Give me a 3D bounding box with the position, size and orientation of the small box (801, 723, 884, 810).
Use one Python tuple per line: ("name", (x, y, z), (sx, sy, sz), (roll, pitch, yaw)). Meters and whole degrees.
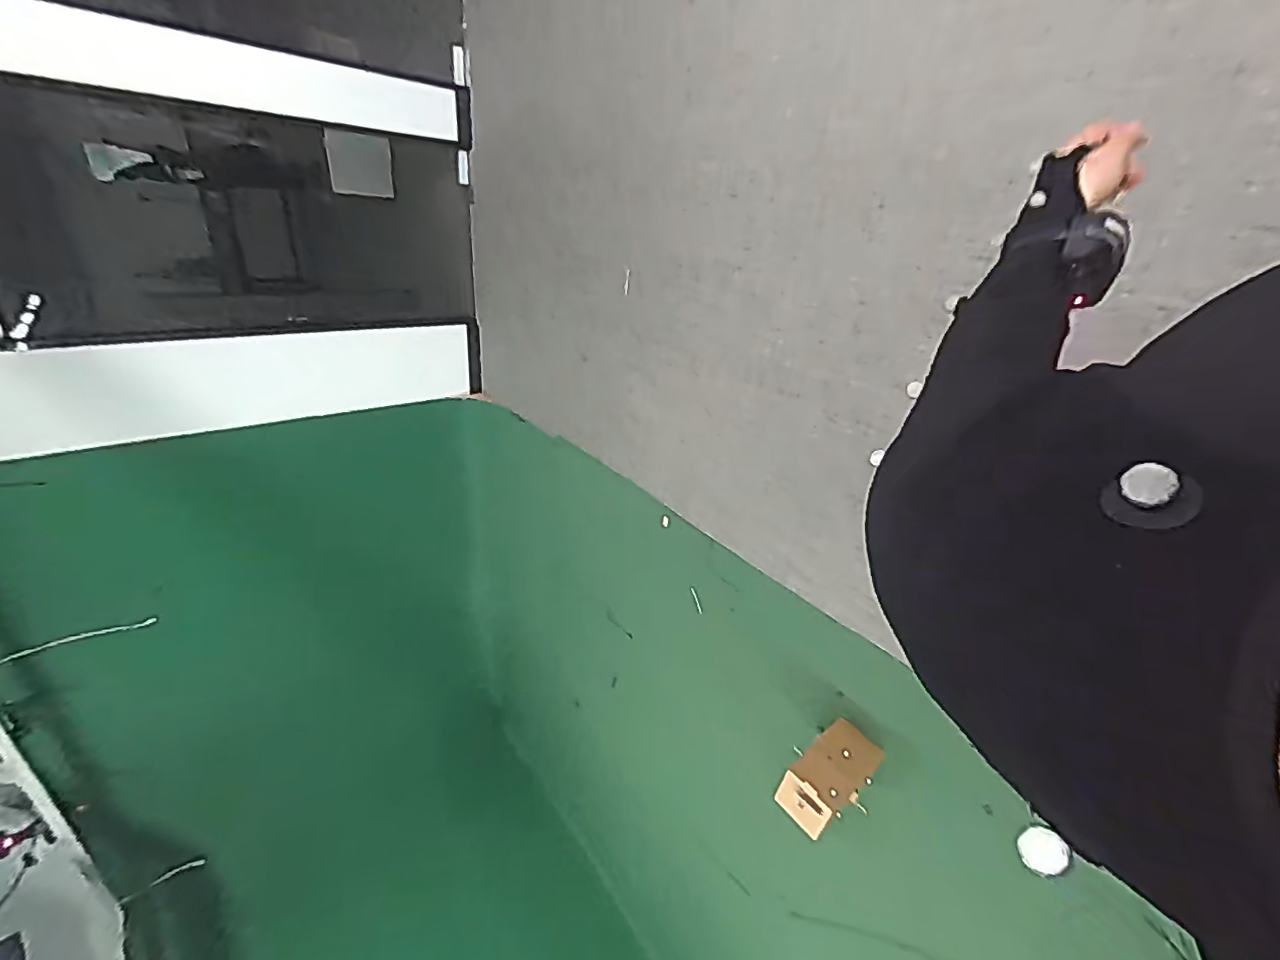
("small box", (0.688, 0.962, 1.839), (0.179, 0.176, 0.168), (37, 129, 38))
